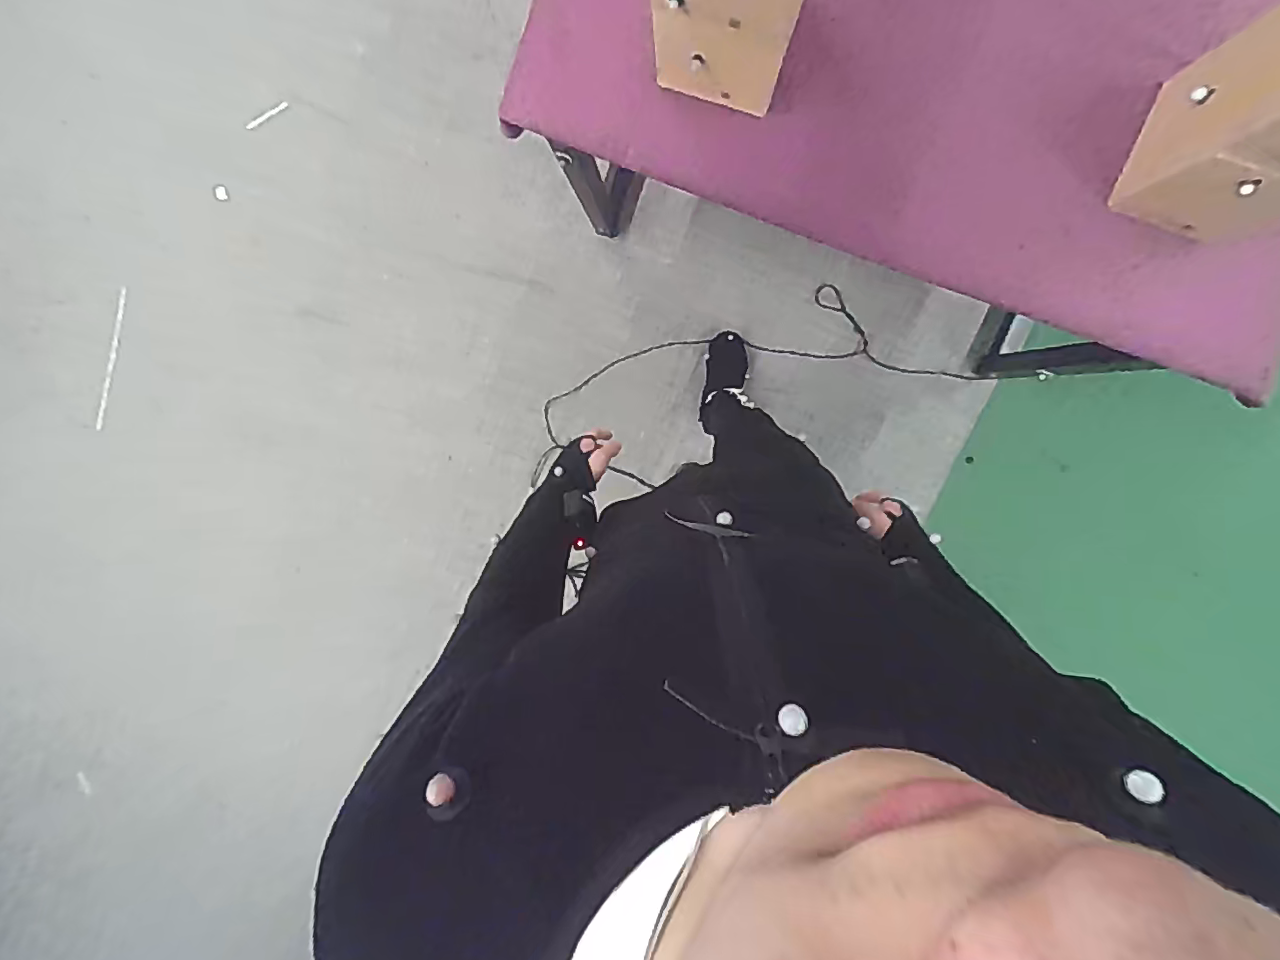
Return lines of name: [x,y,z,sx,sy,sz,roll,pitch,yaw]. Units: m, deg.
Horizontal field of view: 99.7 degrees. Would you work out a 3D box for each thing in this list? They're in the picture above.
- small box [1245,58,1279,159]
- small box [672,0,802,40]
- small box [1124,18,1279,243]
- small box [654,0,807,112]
small box: [0.752,-0.404,0.505,0.168,0.176,0.179,22,99,1]
small box: [0.113,-0.596,0.536,0.168,0.176,0.179,19,99,2]
small box: [0.767,-0.425,0.668,0.168,0.176,0.179,21,99,3]
small box: [0.128,-0.622,0.698,0.168,0.176,0.179,19,99,2]
